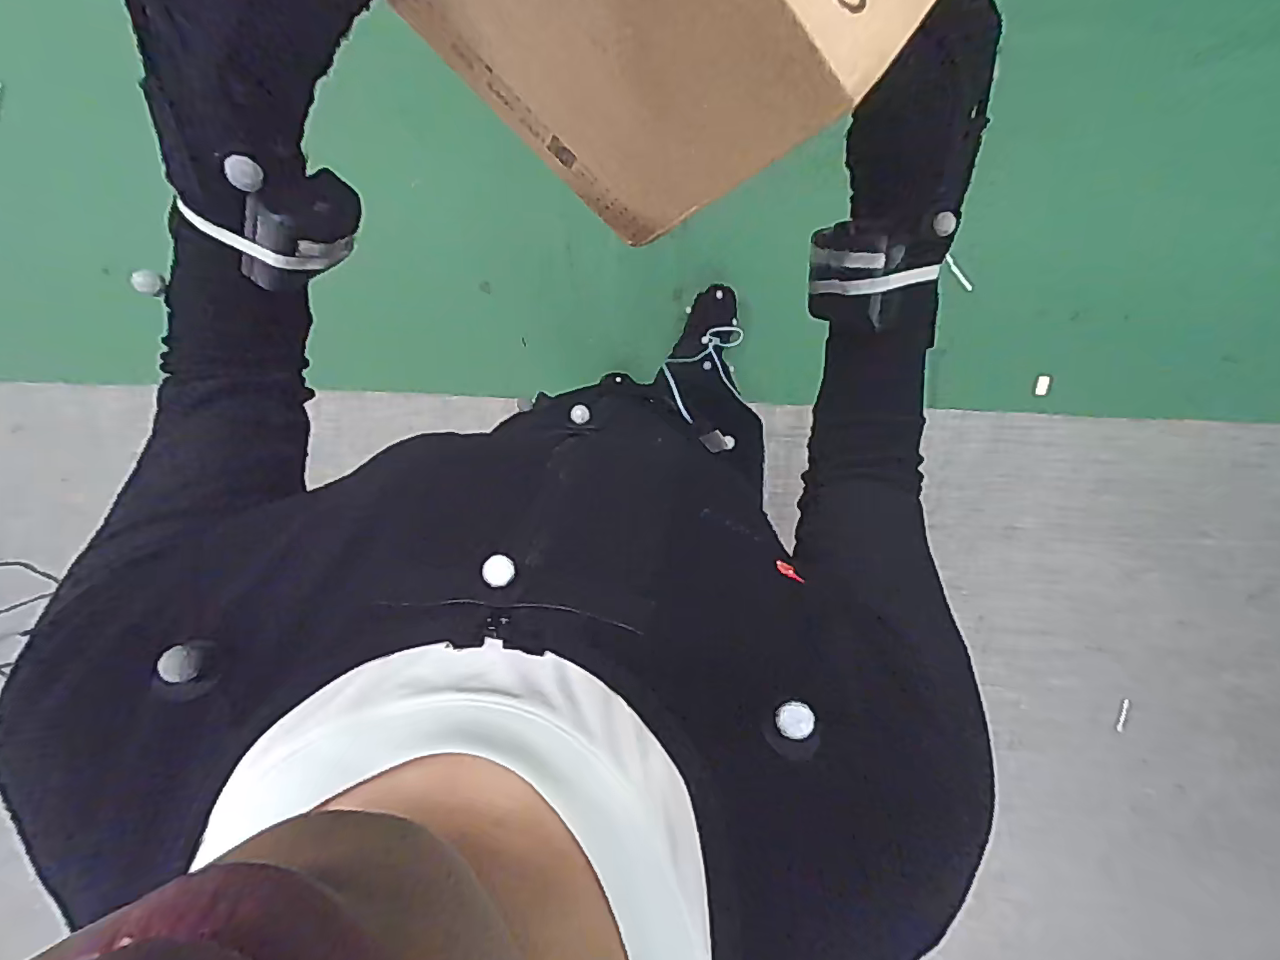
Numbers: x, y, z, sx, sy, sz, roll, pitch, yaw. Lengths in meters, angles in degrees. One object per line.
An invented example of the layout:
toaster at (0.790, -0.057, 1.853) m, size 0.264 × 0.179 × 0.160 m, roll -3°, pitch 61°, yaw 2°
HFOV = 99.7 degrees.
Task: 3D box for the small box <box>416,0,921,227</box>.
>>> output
small box at (0.024, -0.246, 0.222) m, size 0.168 × 0.176 × 0.179 m, roll 39°, pitch 80°, yaw -23°
